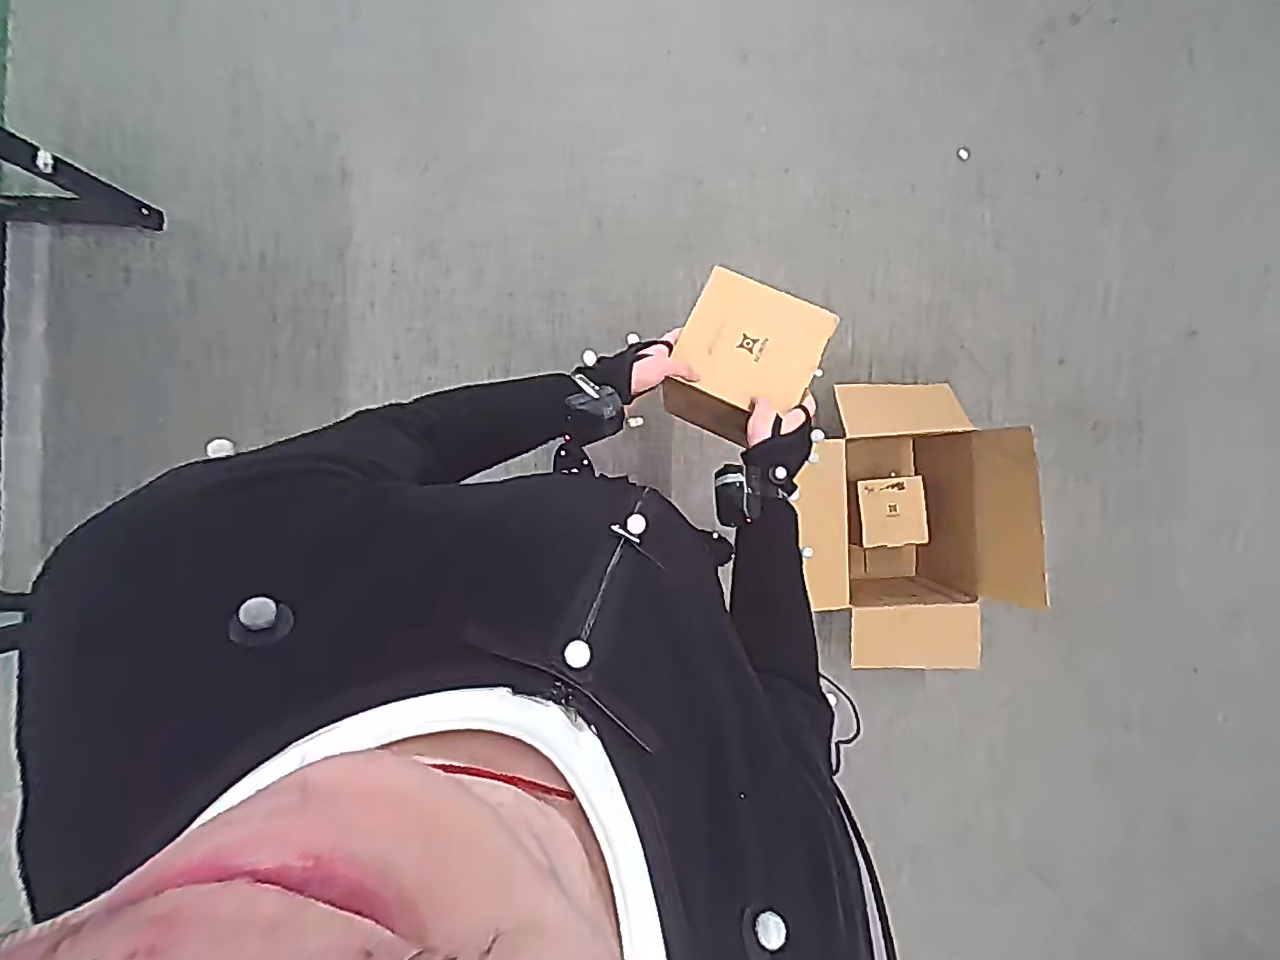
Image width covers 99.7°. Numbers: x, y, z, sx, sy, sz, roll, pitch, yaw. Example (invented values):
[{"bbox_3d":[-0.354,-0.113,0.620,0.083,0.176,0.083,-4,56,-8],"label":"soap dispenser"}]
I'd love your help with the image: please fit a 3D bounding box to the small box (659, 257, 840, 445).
[{"bbox_3d":[0.140,-0.163,0.748,0.179,0.176,0.168,27,81,8],"label":"small box"}]
